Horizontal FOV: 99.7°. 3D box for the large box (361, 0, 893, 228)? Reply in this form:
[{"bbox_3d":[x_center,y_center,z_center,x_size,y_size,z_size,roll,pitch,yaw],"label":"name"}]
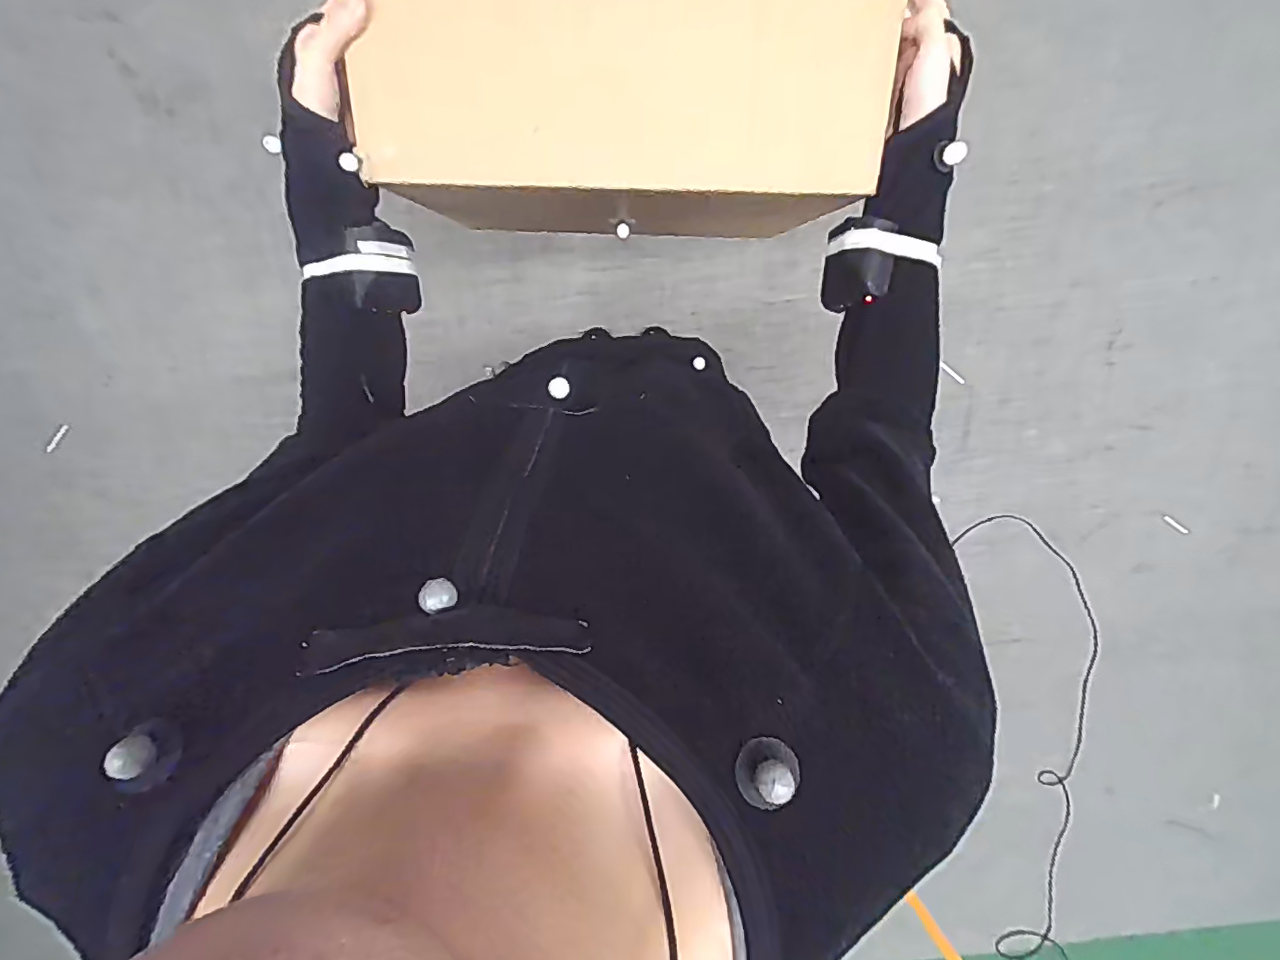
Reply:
[{"bbox_3d":[-0.008,-0.431,0.533,0.408,0.320,0.320,1,108,-1],"label":"large box"}]
